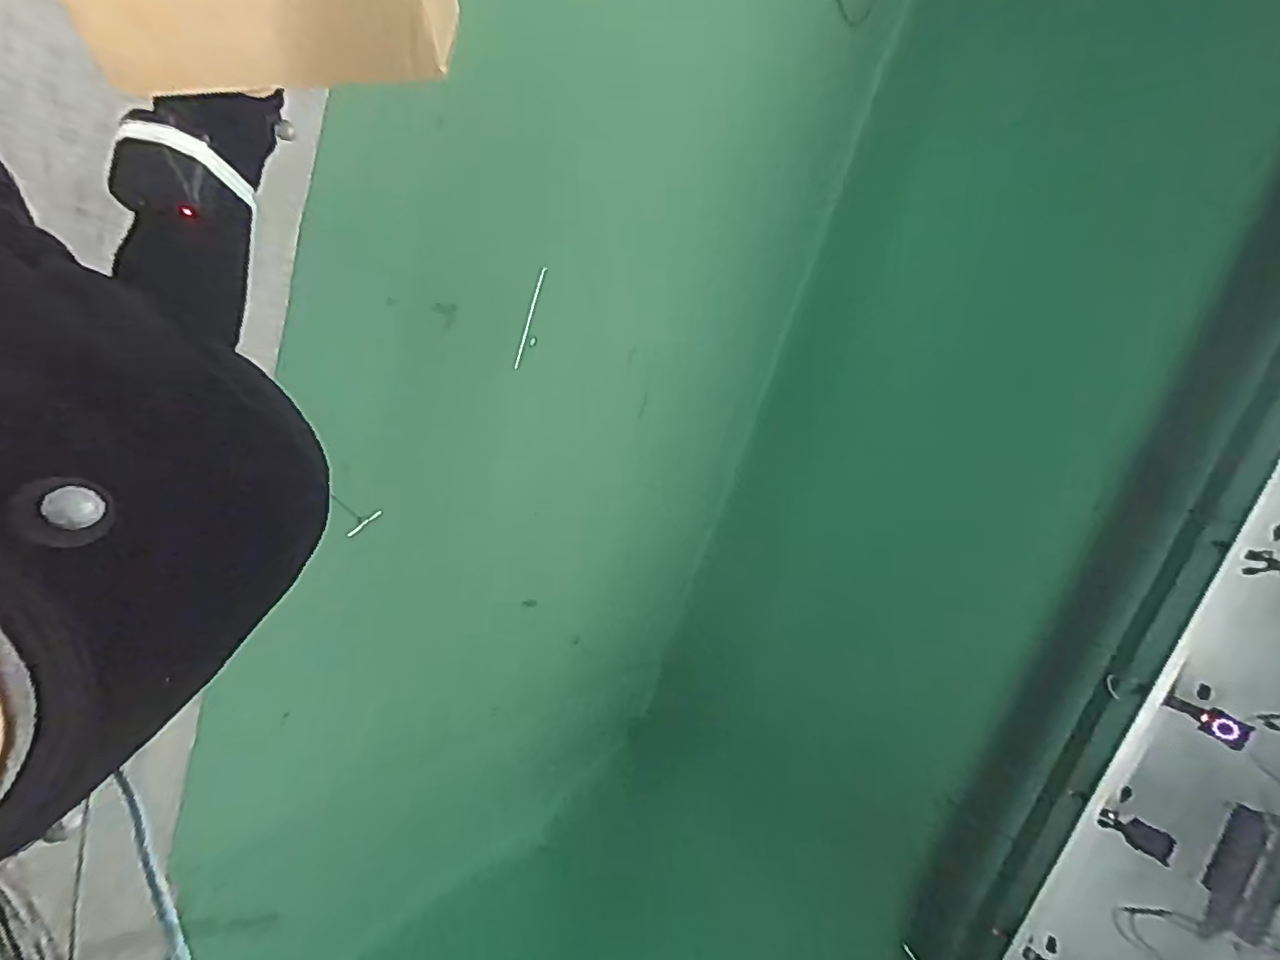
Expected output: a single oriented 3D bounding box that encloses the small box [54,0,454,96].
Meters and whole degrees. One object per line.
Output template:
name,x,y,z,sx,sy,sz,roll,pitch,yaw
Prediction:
small box,-0.201,-0.322,0.273,0.168,0.179,0.176,-9,139,-5
